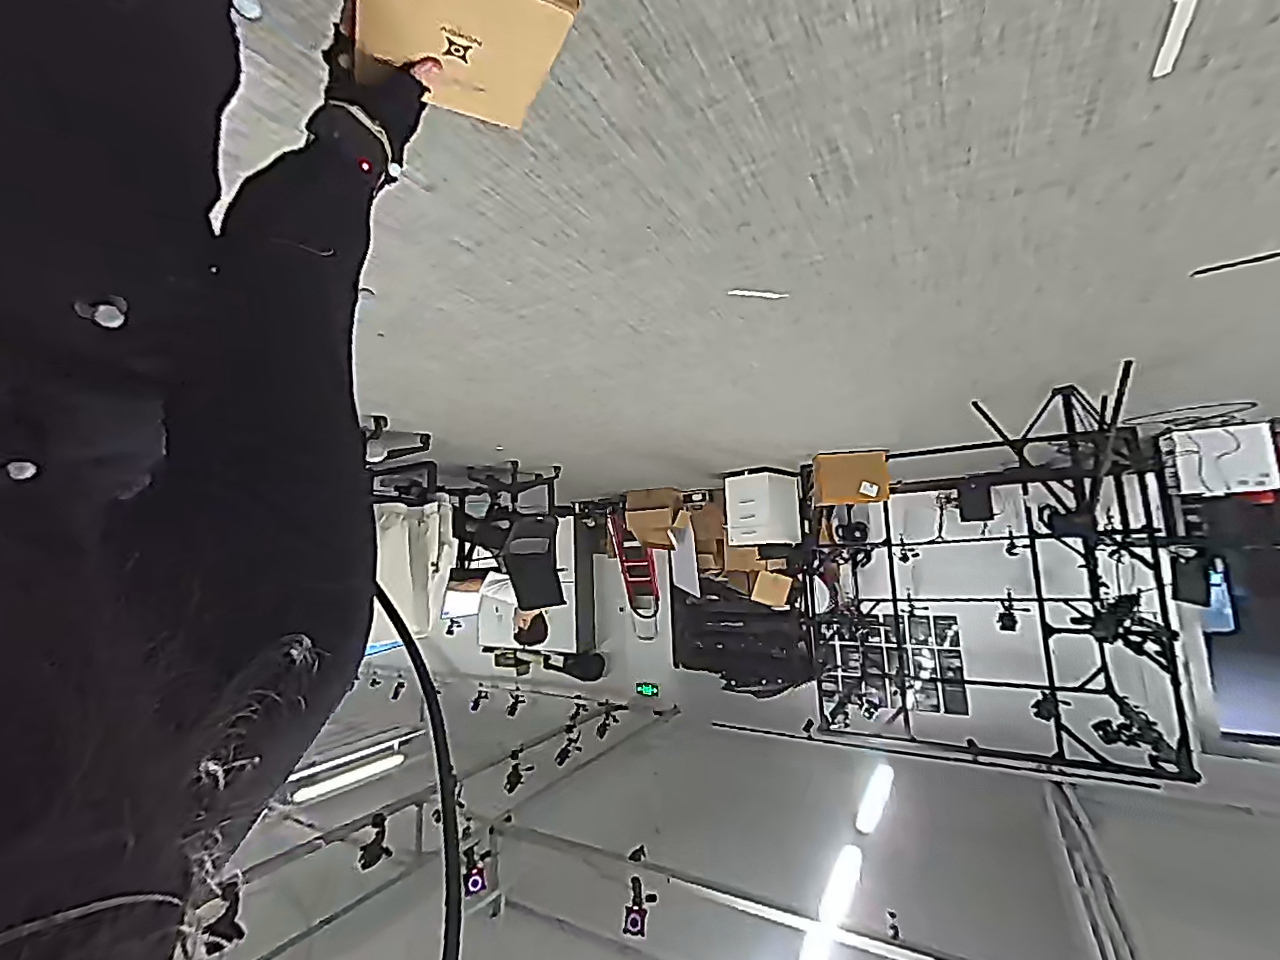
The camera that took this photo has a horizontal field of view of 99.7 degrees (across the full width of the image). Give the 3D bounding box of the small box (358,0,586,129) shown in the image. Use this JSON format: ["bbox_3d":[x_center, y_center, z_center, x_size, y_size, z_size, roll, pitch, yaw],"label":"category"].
[{"bbox_3d":[-0.158,-0.468,0.483,0.168,0.176,0.179,0,-179,-30],"label":"small box"}]
